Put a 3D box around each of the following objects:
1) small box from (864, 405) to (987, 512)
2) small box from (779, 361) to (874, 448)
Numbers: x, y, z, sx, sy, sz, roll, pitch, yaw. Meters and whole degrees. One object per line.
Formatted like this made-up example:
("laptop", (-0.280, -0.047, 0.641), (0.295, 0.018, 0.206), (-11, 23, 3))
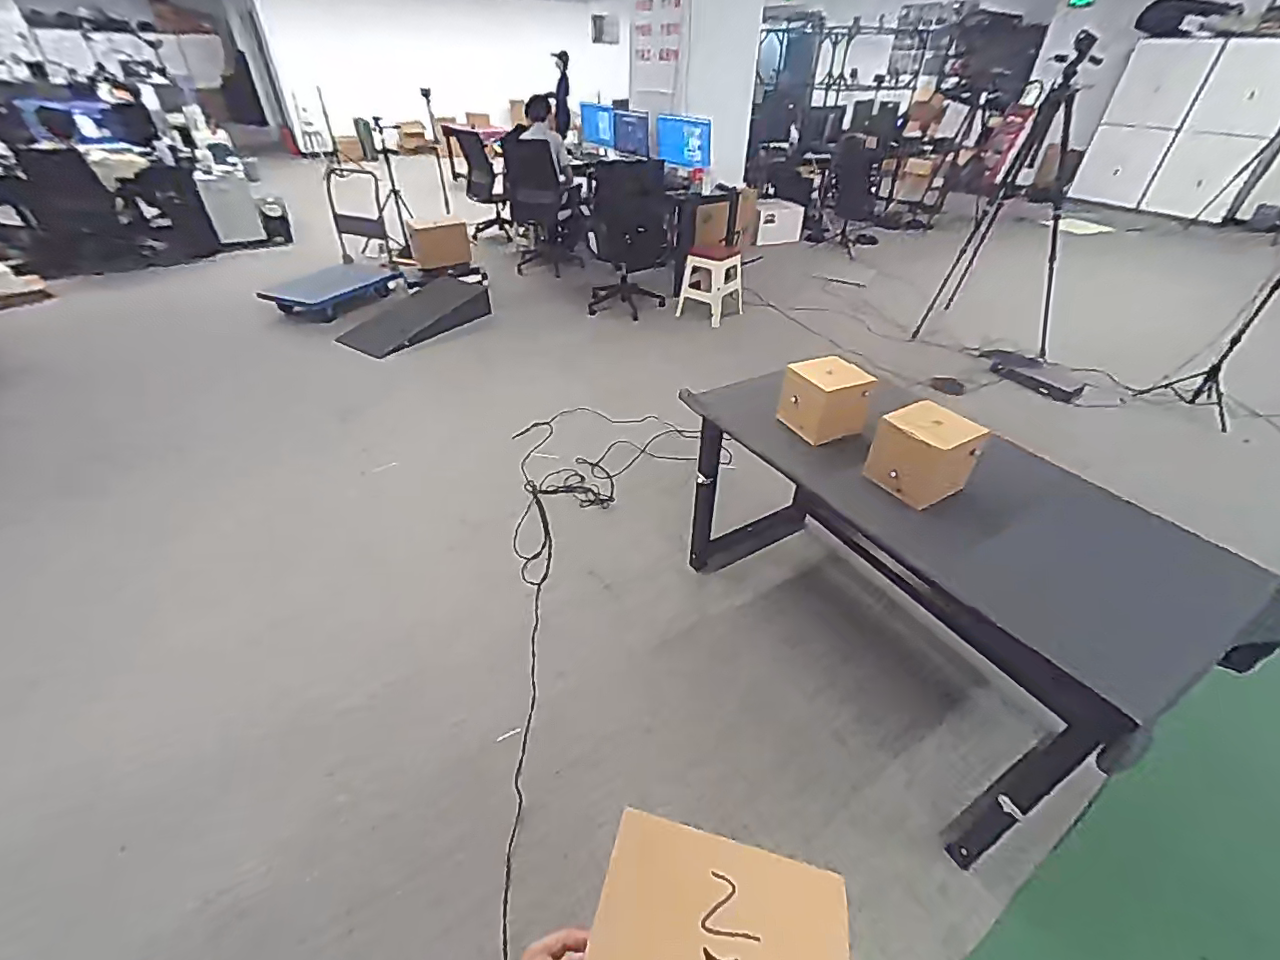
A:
("small box", (0.665, -0.051, 1.282), (0.179, 0.176, 0.168), (-19, 41, -26))
("small box", (0.499, -0.206, 1.481), (0.179, 0.176, 0.168), (-15, 40, -22))
